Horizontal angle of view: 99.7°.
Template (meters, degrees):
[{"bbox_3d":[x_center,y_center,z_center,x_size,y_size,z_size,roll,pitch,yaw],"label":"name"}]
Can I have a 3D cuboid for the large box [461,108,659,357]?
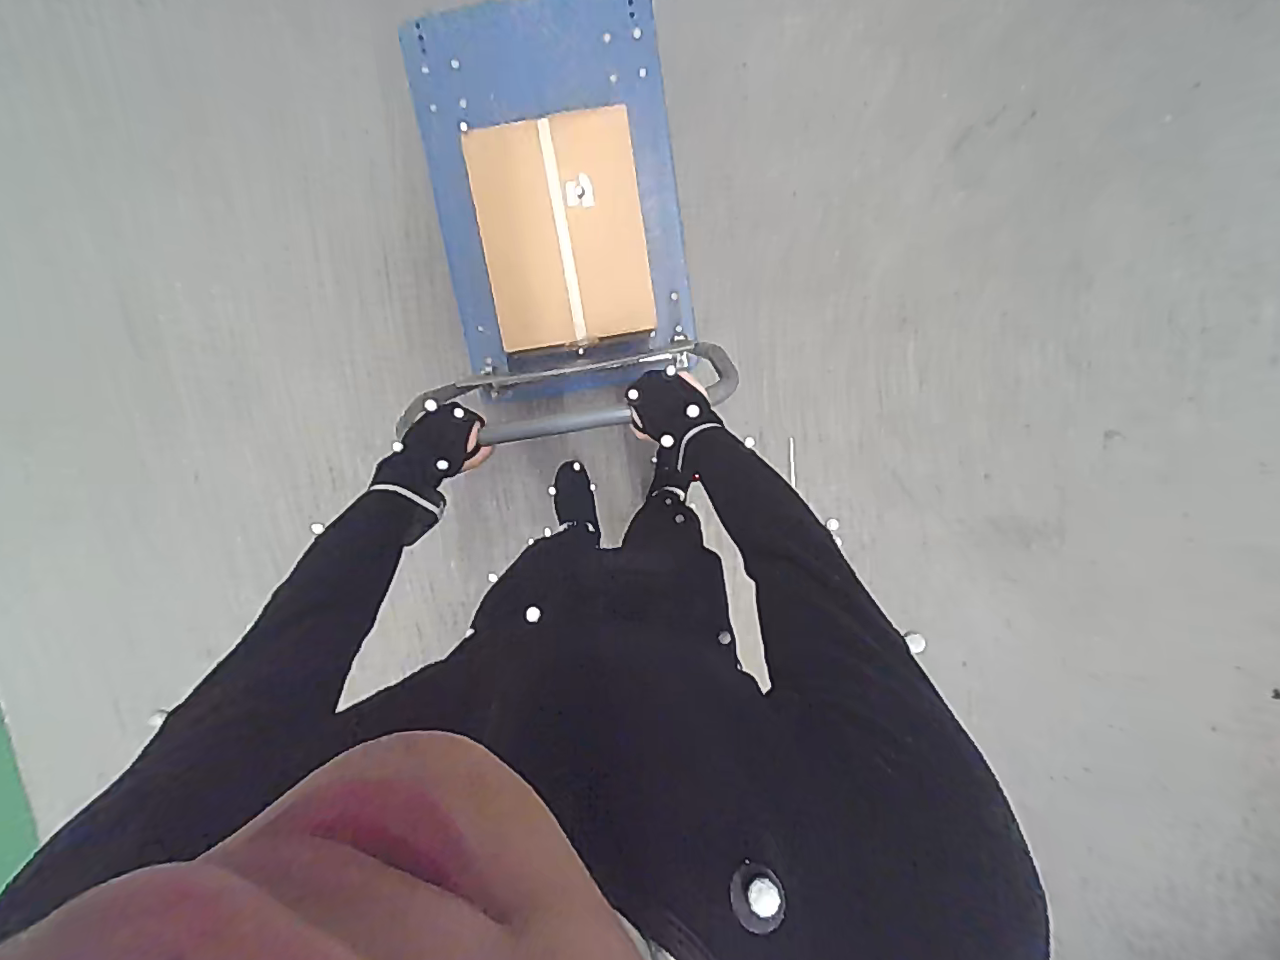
[{"bbox_3d":[-0.149,-0.497,1.180,0.320,0.320,0.408,-10,102,0],"label":"large box"}]
